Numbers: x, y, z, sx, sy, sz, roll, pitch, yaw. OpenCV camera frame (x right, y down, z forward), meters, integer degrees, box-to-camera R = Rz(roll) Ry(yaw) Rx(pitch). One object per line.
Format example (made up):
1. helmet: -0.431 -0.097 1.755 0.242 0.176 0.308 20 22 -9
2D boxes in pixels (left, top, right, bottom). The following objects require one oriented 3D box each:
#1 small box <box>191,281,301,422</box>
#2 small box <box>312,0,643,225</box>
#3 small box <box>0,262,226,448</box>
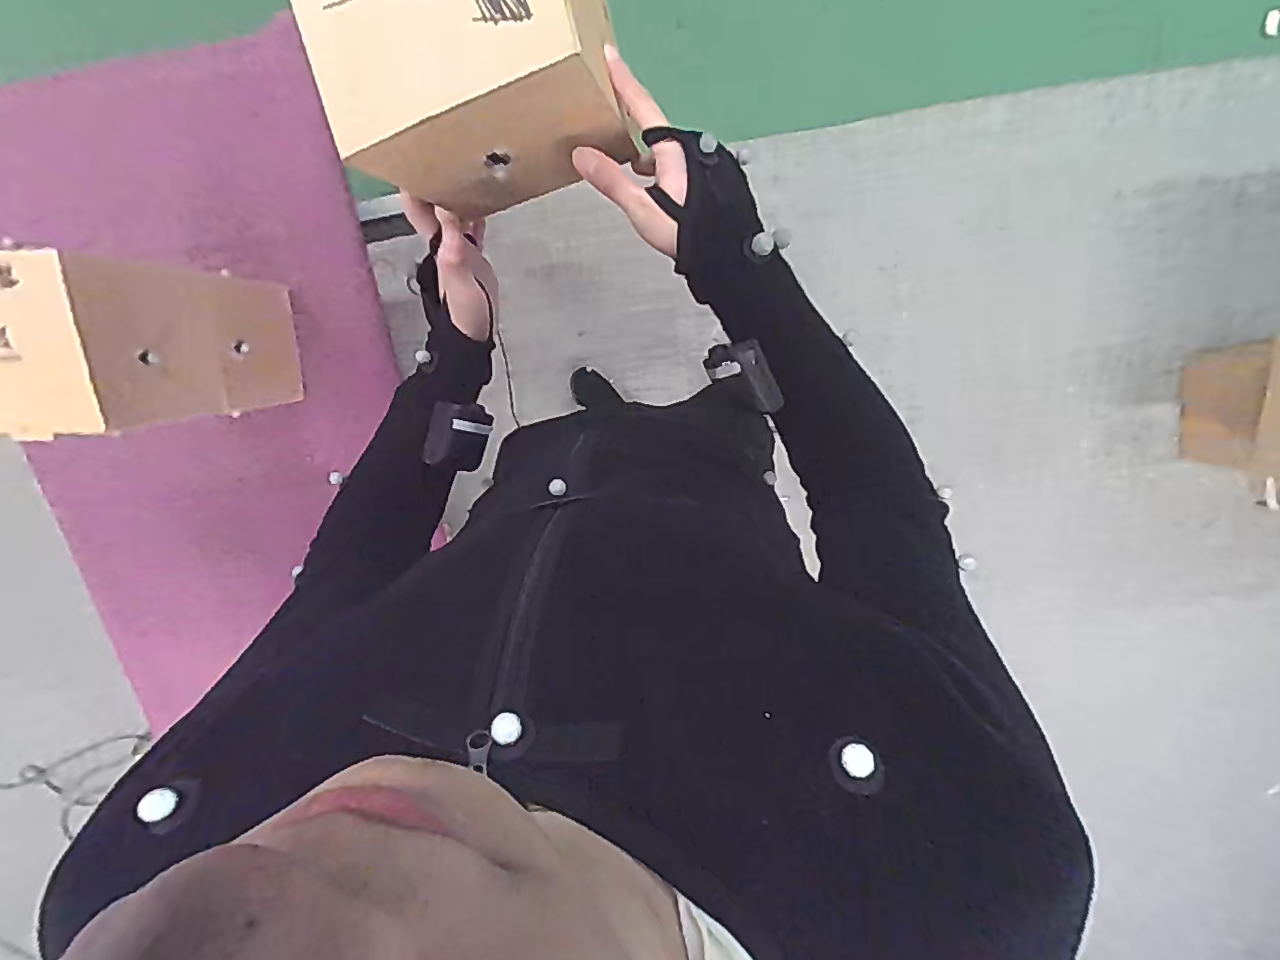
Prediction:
1. small box: -0.609 -0.183 0.758 0.168 0.176 0.179 2 105 0
2. small box: -0.104 -0.314 0.402 0.179 0.176 0.168 -11 99 15
3. small box: -0.610 -0.140 0.600 0.168 0.176 0.179 -1 106 0
